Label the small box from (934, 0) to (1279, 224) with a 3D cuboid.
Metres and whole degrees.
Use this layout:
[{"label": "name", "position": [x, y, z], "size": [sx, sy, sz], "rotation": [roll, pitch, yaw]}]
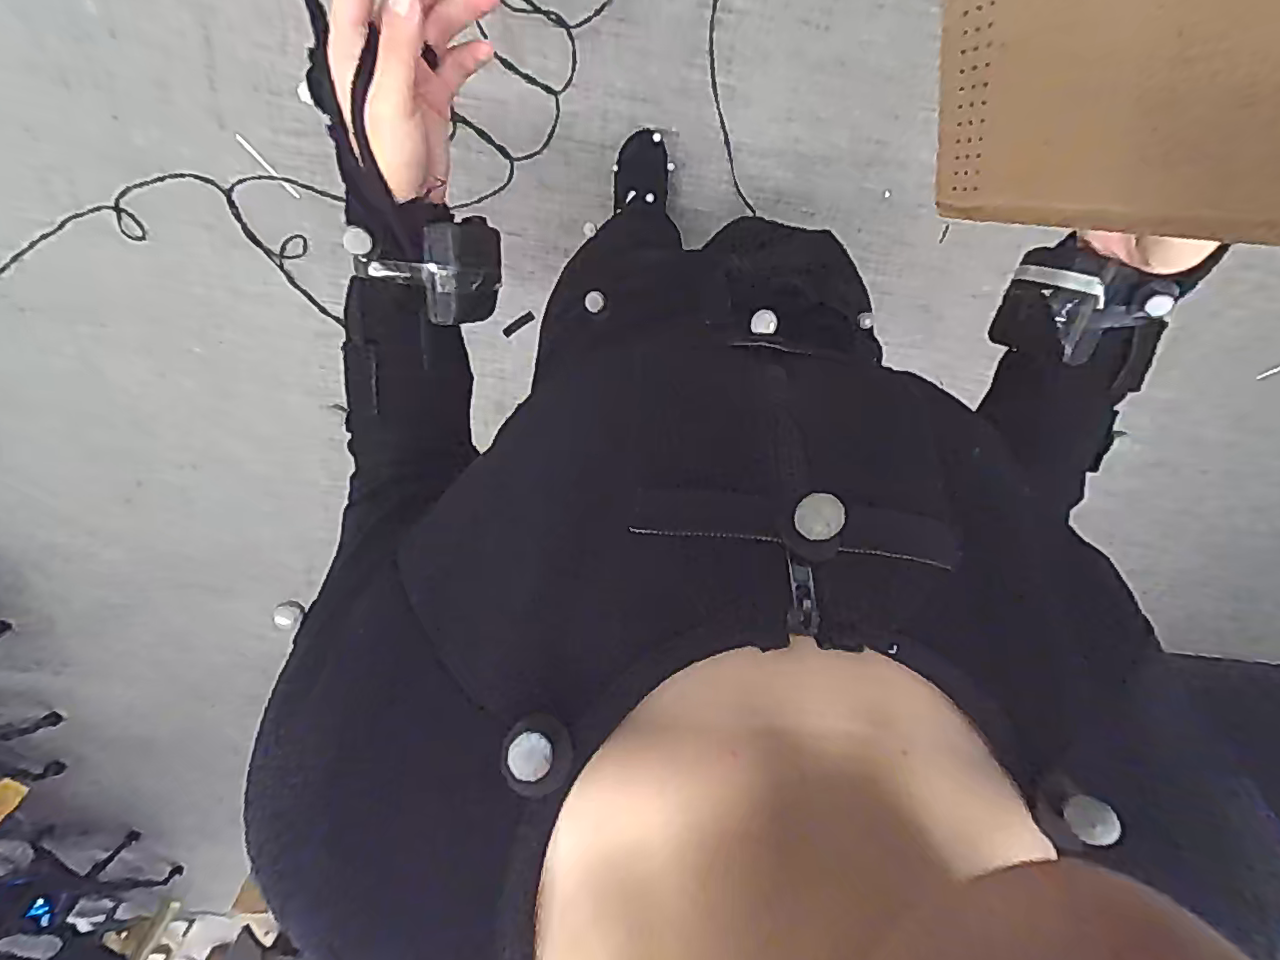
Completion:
[{"label": "small box", "position": [0.216, -0.190, 0.164], "size": [0.168, 0.176, 0.179], "rotation": [-20, 120, -1]}]
